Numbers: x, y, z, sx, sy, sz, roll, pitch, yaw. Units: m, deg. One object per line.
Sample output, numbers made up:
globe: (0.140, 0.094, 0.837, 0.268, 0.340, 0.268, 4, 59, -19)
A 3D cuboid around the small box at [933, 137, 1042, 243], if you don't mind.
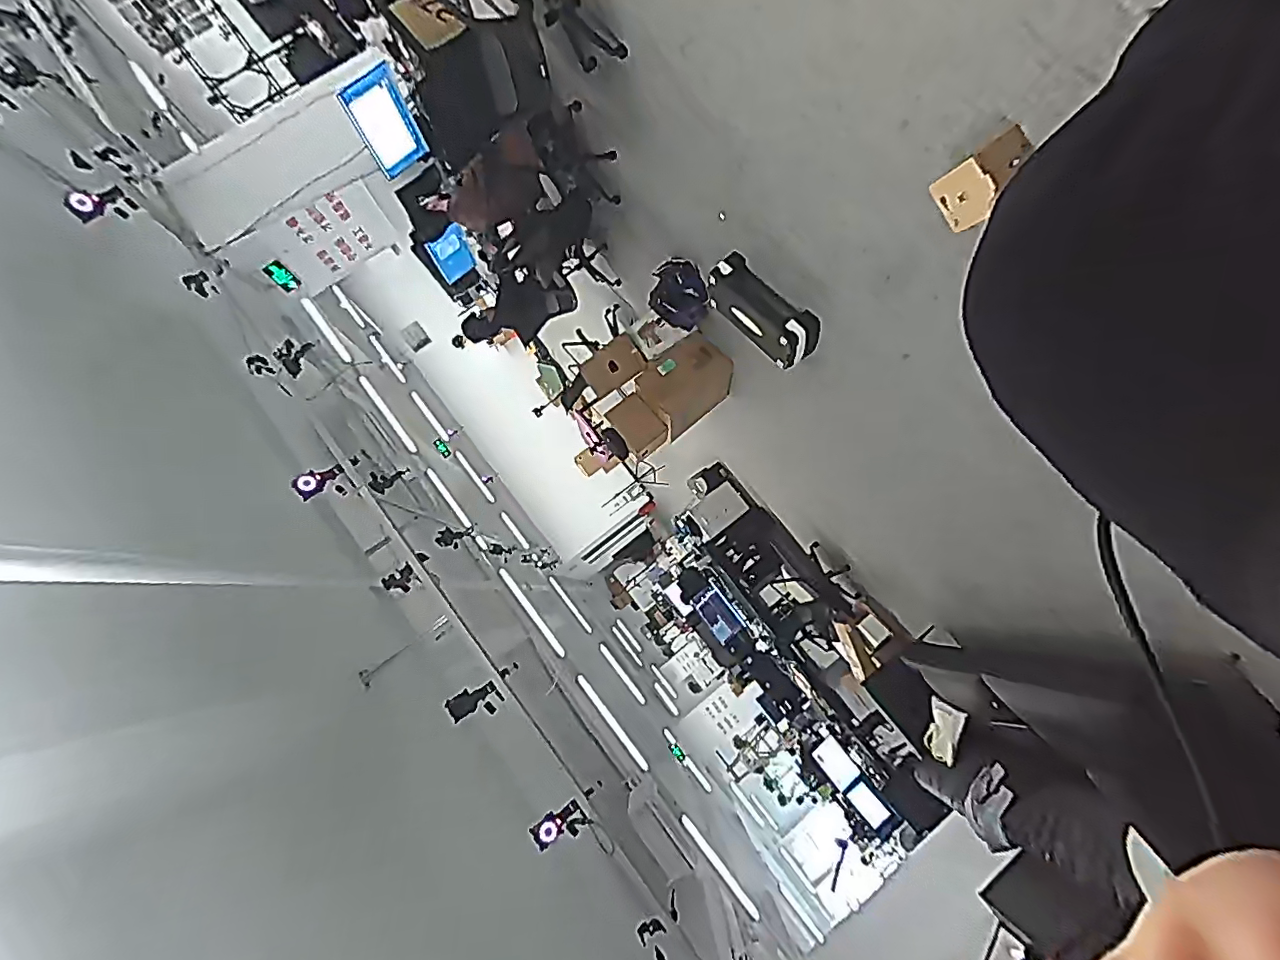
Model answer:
small box: (0.987, -0.817, 1.528, 0.168, 0.176, 0.179, 52, 172, -8)
